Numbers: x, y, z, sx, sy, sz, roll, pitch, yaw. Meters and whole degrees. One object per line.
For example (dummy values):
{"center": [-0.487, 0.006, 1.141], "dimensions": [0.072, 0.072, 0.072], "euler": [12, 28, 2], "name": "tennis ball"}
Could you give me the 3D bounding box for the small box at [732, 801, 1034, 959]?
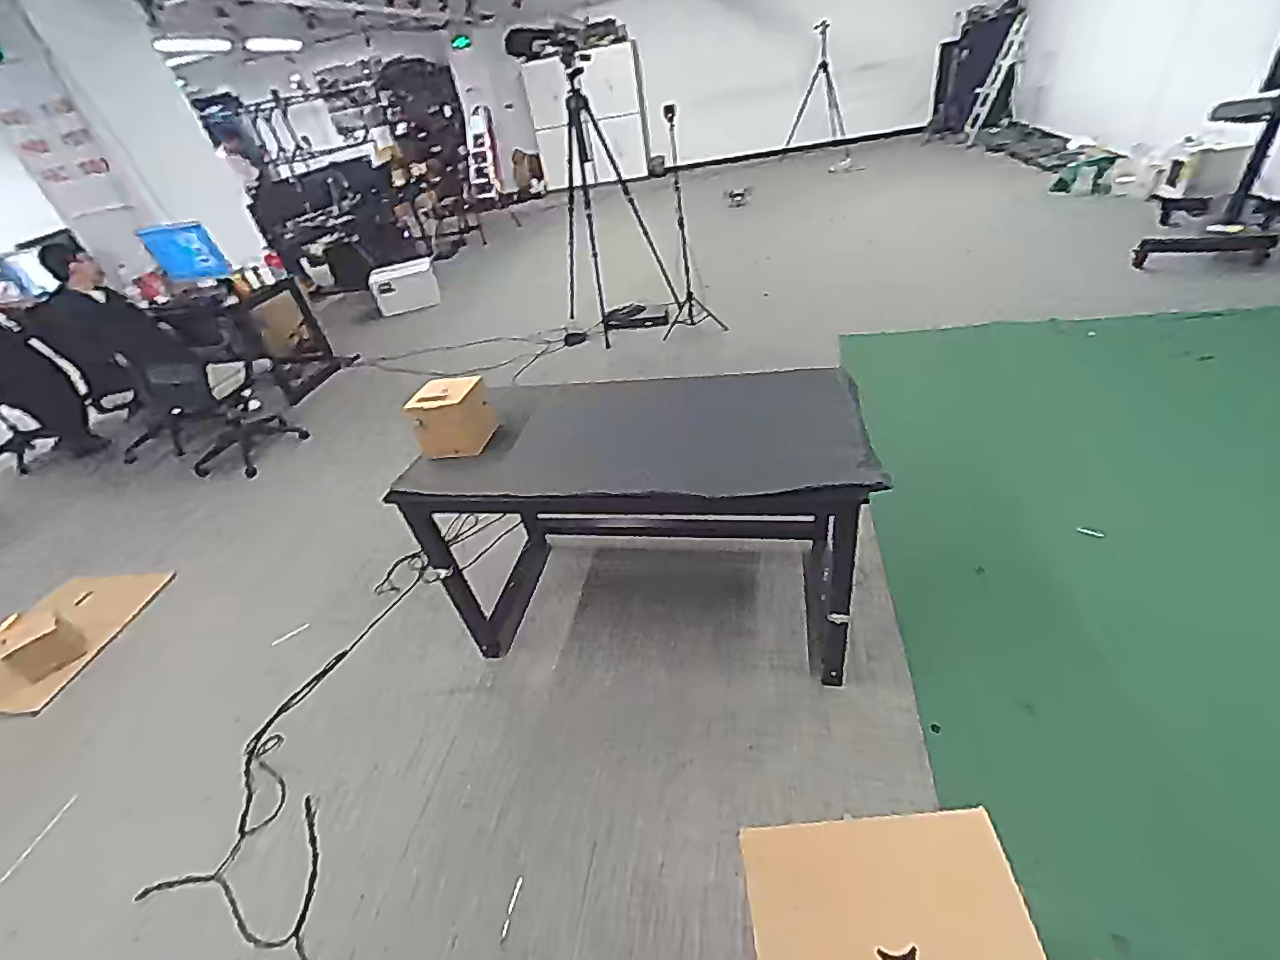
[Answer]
{"center": [0.159, 0.343, 0.371], "dimensions": [0.168, 0.176, 0.179], "euler": [-10, 49, 6], "name": "small box"}
